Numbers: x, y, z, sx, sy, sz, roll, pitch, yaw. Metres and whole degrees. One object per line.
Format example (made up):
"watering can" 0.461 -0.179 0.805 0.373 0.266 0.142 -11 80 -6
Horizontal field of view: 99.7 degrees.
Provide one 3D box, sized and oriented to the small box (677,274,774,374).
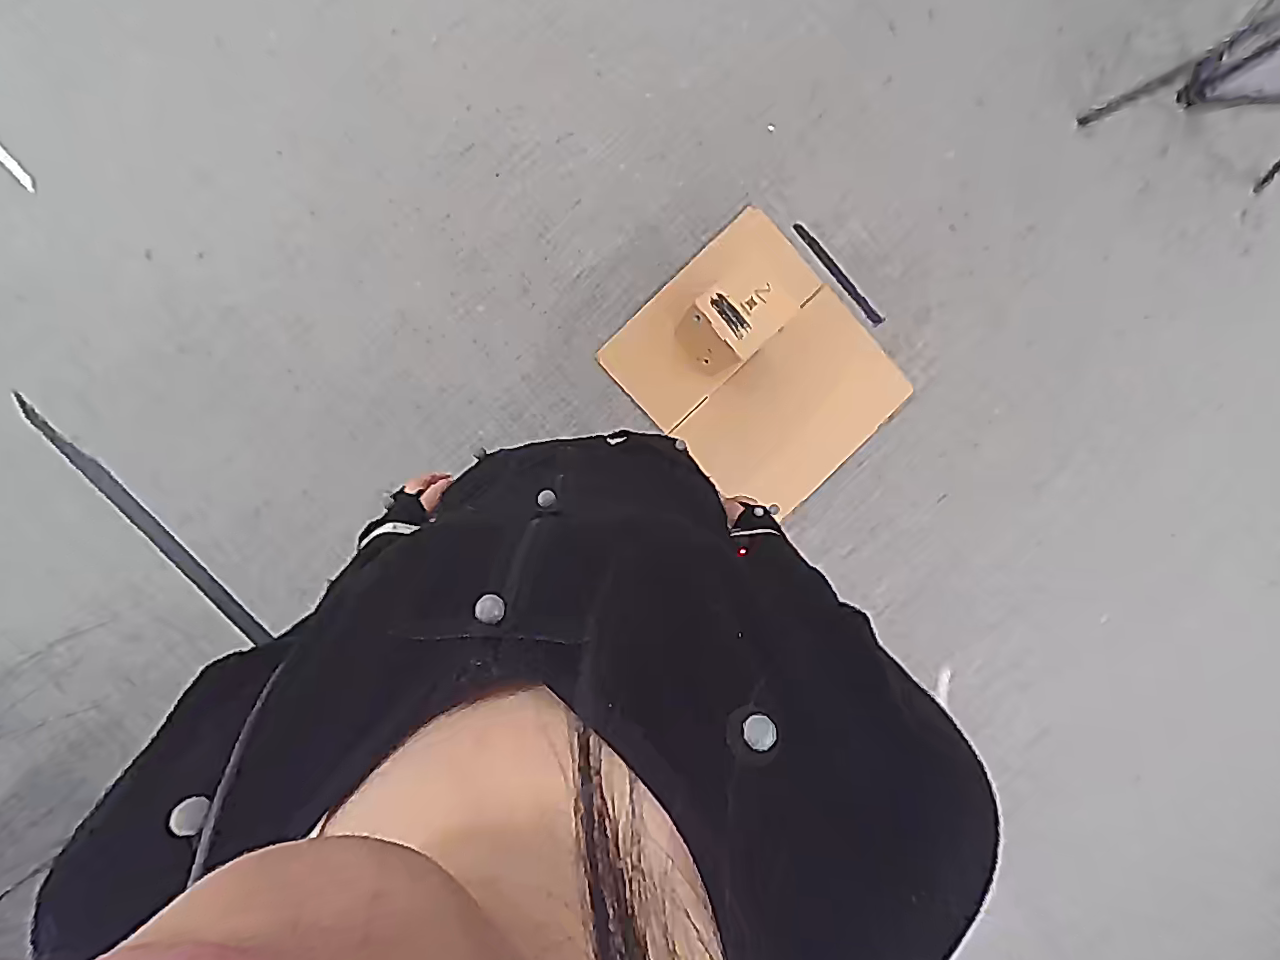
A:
"small box" 0.210 -0.393 1.399 0.179 0.176 0.168 -39 97 -2
